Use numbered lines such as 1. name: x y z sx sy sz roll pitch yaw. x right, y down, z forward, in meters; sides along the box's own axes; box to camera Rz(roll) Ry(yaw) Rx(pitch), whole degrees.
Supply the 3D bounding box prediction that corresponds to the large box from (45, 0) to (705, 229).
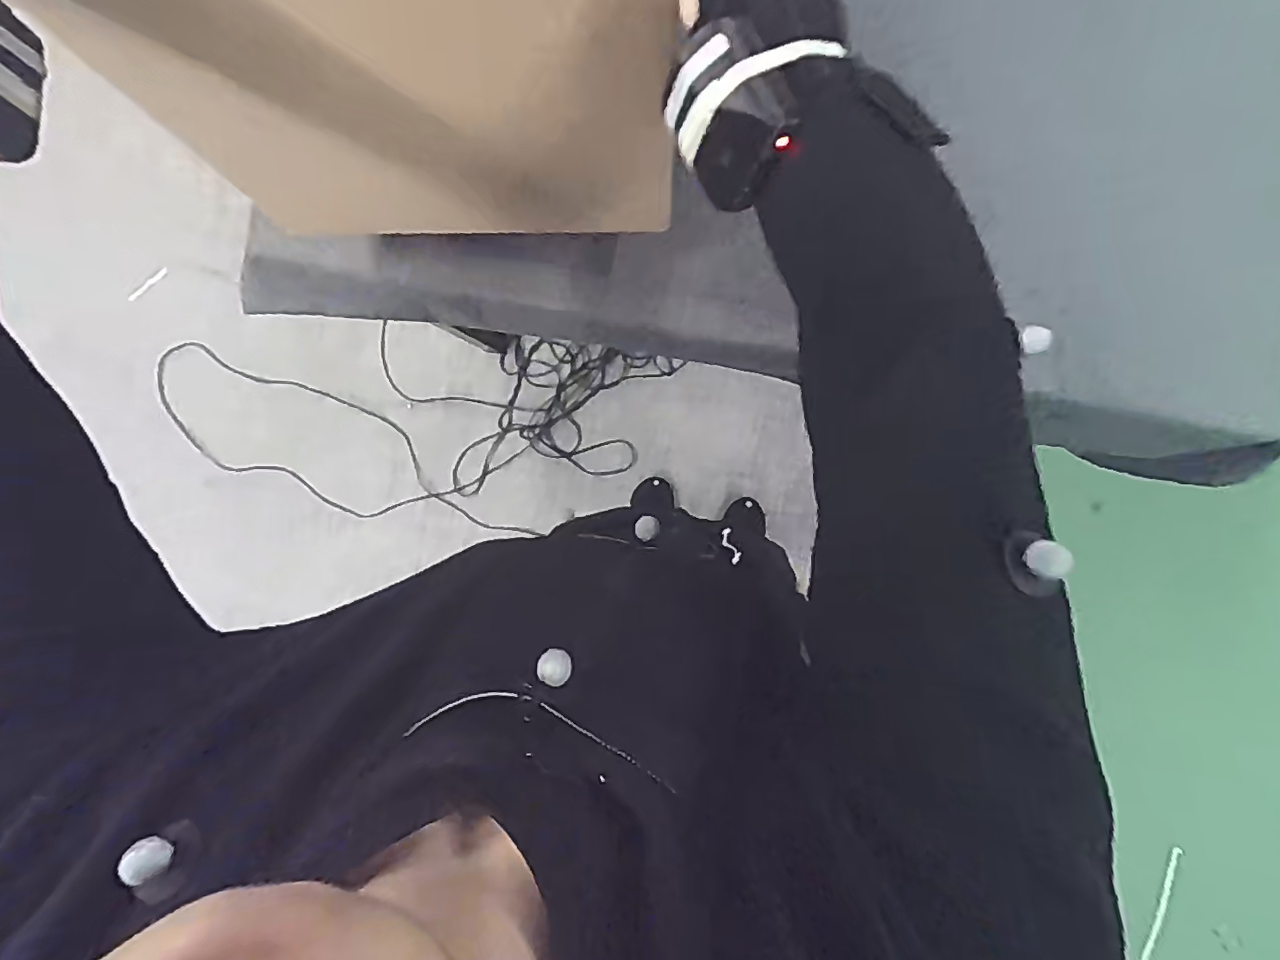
1. large box: -0.162 -0.426 0.424 0.408 0.320 0.320 0 85 0
